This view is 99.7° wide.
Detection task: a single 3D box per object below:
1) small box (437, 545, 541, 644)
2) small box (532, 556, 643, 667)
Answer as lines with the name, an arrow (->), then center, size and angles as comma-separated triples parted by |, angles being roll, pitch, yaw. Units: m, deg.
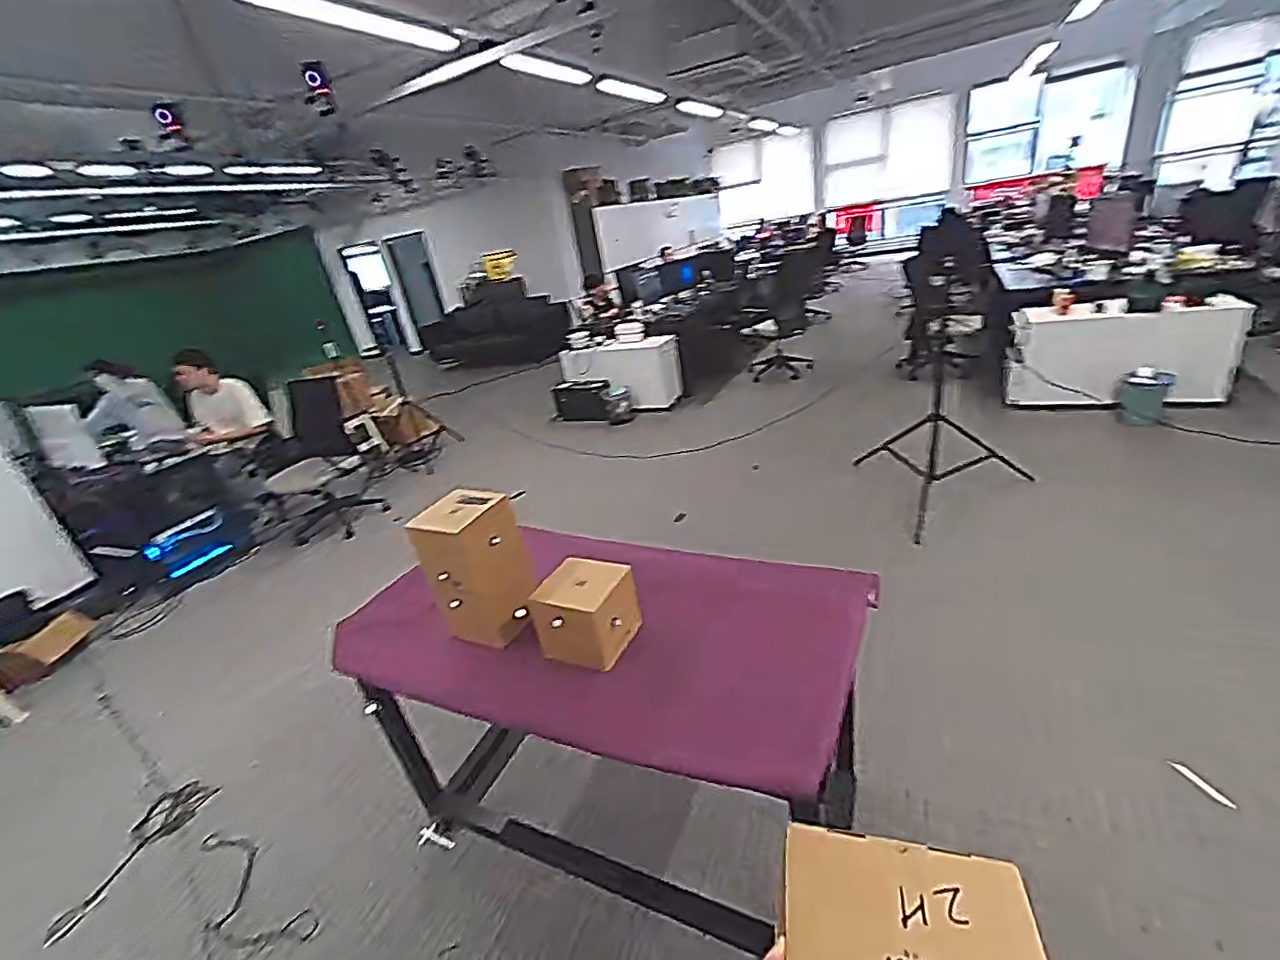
small box -> -0.366, 0.283, 1.351 | 0.179, 0.176, 0.168 | 4, 29, 27
small box -> -0.110, 0.297, 1.226 | 0.179, 0.176, 0.168 | 3, 28, 28
